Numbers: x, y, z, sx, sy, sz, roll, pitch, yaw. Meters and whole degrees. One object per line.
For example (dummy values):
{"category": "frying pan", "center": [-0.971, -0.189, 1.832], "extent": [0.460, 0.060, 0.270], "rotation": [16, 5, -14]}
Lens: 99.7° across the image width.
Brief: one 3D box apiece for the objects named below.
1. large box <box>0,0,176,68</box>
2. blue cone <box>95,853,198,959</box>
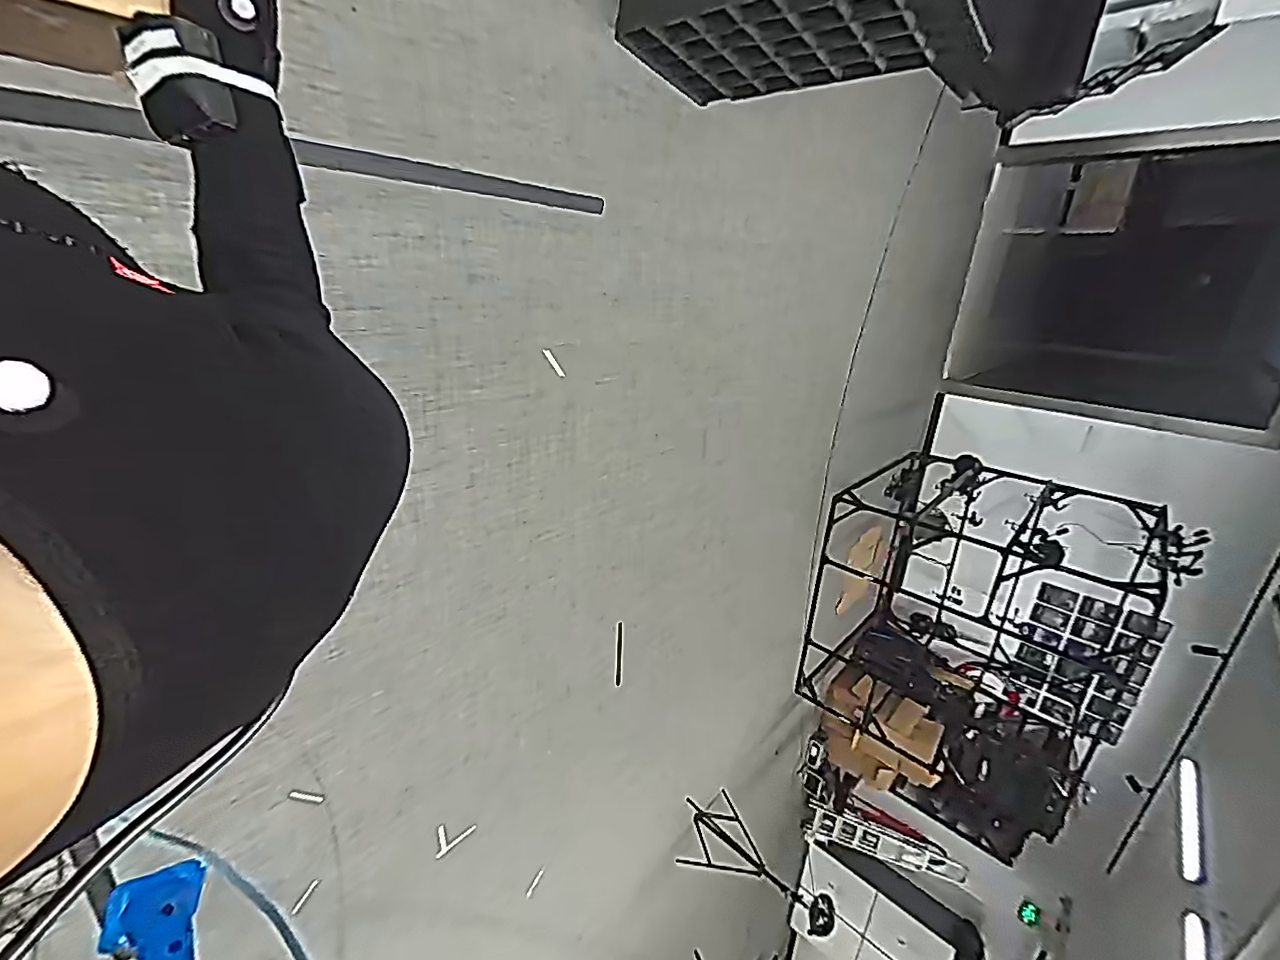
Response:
{"category": "large box", "center": [-0.561, -0.463, 0.272], "extent": [0.408, 0.320, 0.320], "rotation": [-21, 125, -46]}
{"category": "blue cone", "center": [-1.169, 1.143, 1.319], "extent": [0.193, 0.380, 0.192], "rotation": [12, 97, -52]}
